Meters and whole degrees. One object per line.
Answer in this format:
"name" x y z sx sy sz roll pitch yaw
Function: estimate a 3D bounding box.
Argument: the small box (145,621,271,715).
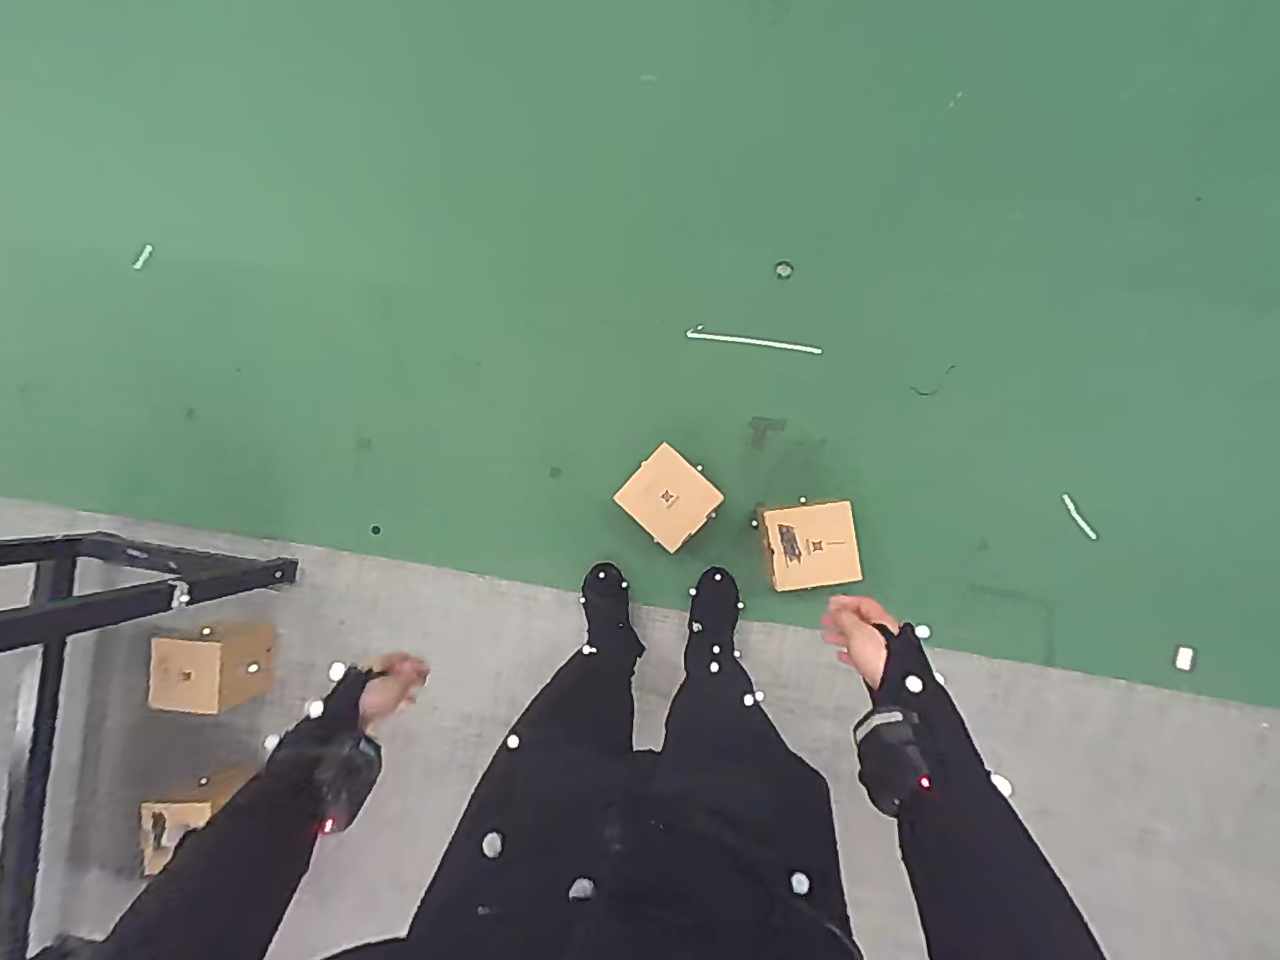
"small box" -1.034 0.447 1.308 0.179 0.176 0.168 3 90 5

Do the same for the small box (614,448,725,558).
"small box" 0.068 0.047 1.205 0.179 0.176 0.168 43 93 5

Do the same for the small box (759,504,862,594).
"small box" 0.359 0.144 1.176 0.179 0.176 0.168 -8 89 5
